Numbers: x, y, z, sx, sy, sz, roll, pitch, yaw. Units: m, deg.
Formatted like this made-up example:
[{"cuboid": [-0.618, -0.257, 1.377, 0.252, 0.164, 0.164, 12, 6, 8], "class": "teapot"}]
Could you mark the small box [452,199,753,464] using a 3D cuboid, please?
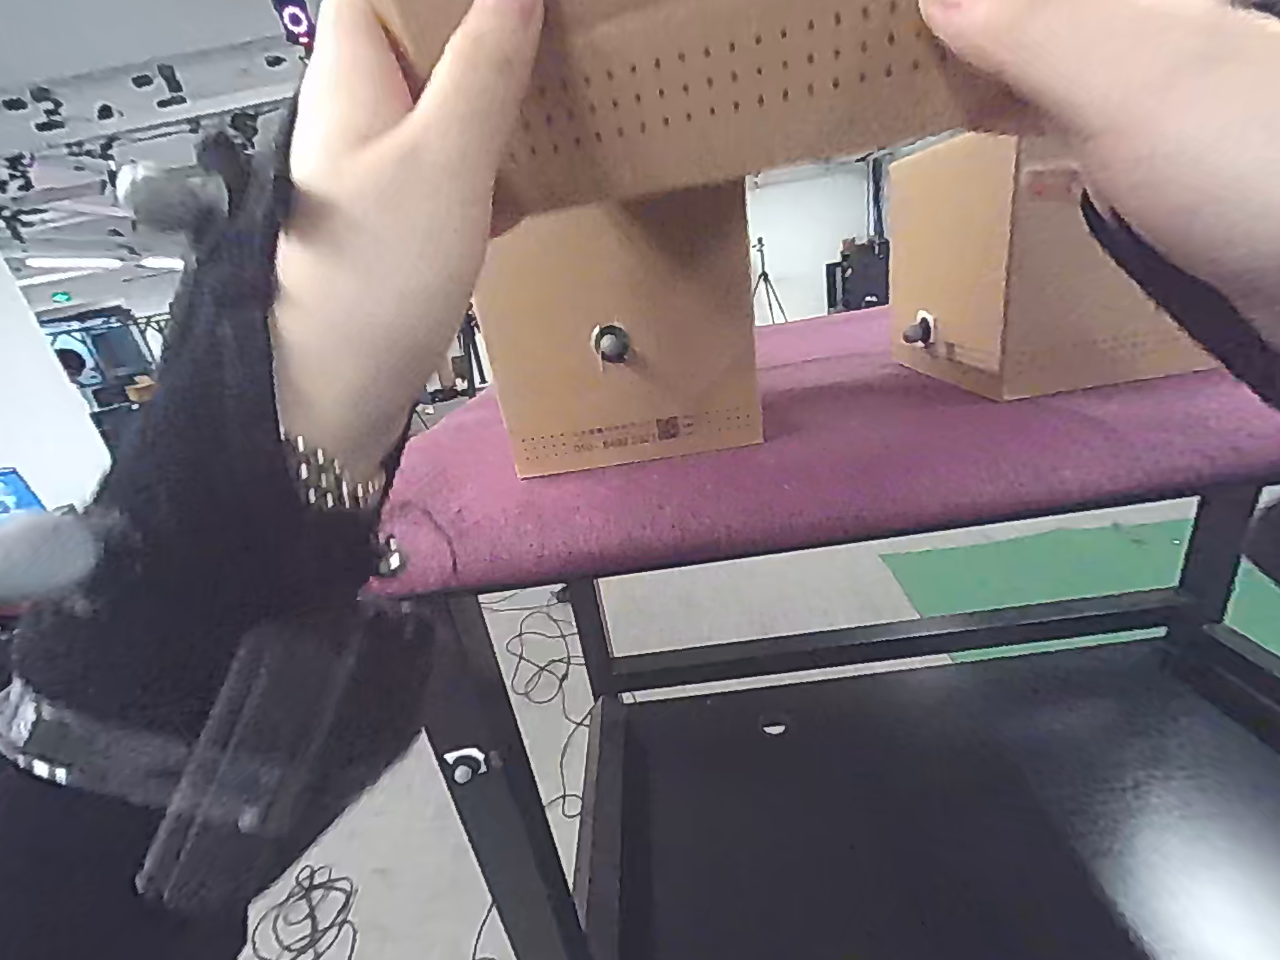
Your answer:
[{"cuboid": [-0.015, -0.116, 0.405, 0.168, 0.176, 0.179, -8, 22, 2], "class": "small box"}]

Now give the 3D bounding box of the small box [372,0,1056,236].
[{"cuboid": [0.016, -0.190, 0.164, 0.179, 0.176, 0.168, -5, 41, 10], "class": "small box"}]

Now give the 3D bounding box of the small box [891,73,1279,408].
[{"cuboid": [0.303, -0.163, 0.396, 0.179, 0.176, 0.168, -10, 21, 2], "class": "small box"}]
